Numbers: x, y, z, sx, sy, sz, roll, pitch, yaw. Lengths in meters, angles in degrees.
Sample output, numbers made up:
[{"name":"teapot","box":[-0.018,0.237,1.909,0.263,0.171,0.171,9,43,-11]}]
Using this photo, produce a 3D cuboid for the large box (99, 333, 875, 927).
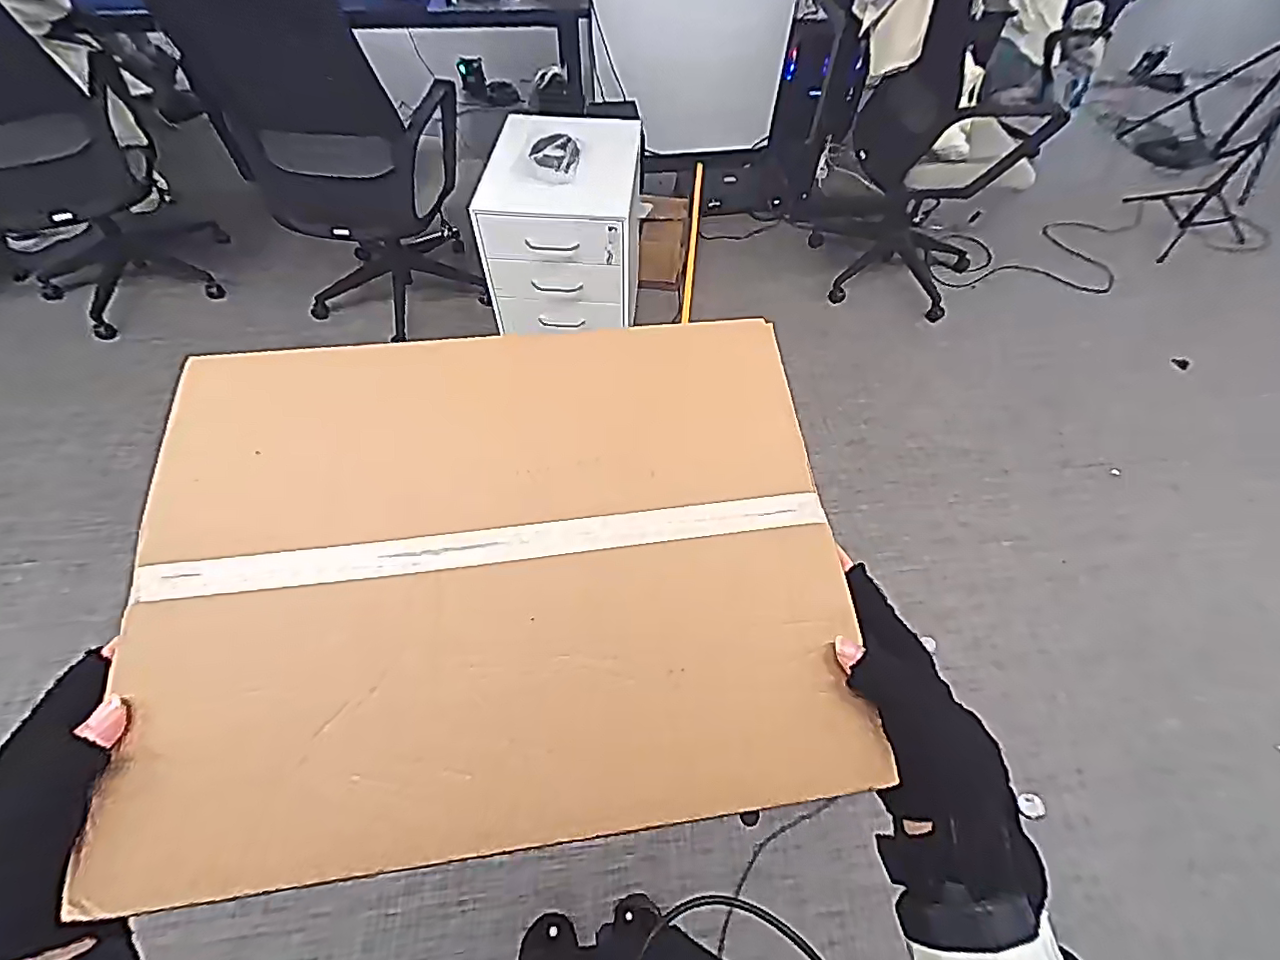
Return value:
[{"name":"large box","box":[-0.091,0.107,0.470,0.408,0.320,0.320,-6,67,-6]}]
